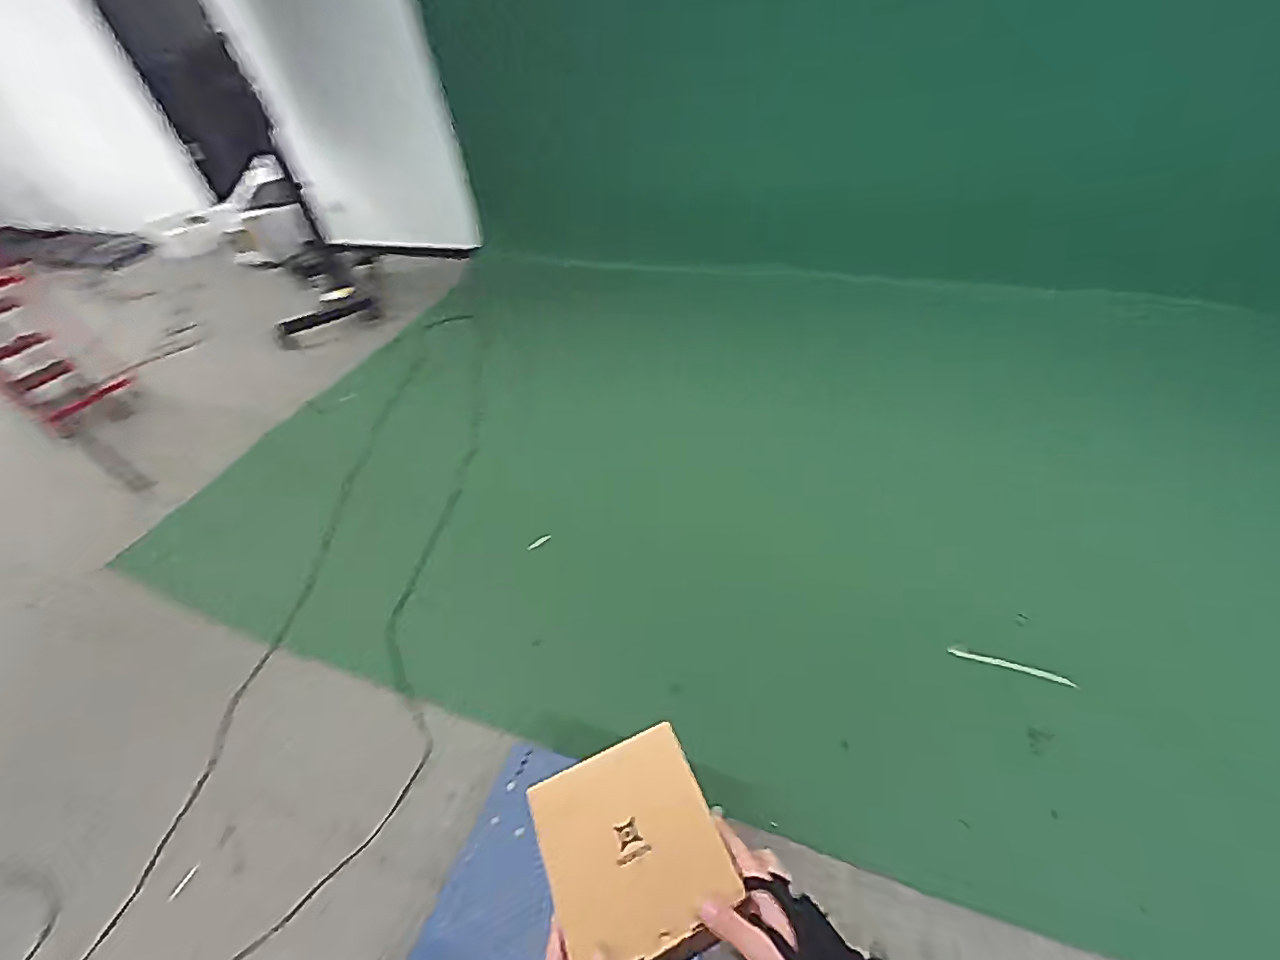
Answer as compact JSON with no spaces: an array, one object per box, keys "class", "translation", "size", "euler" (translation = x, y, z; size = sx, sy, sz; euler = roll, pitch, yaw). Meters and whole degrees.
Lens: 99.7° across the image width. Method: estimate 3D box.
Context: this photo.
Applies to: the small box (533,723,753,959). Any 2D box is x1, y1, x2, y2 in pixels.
[{"class":"small box","translation":[0.001,0.403,0.576],"size":[0.168,0.176,0.179],"euler":[-21,47,-12]}]
